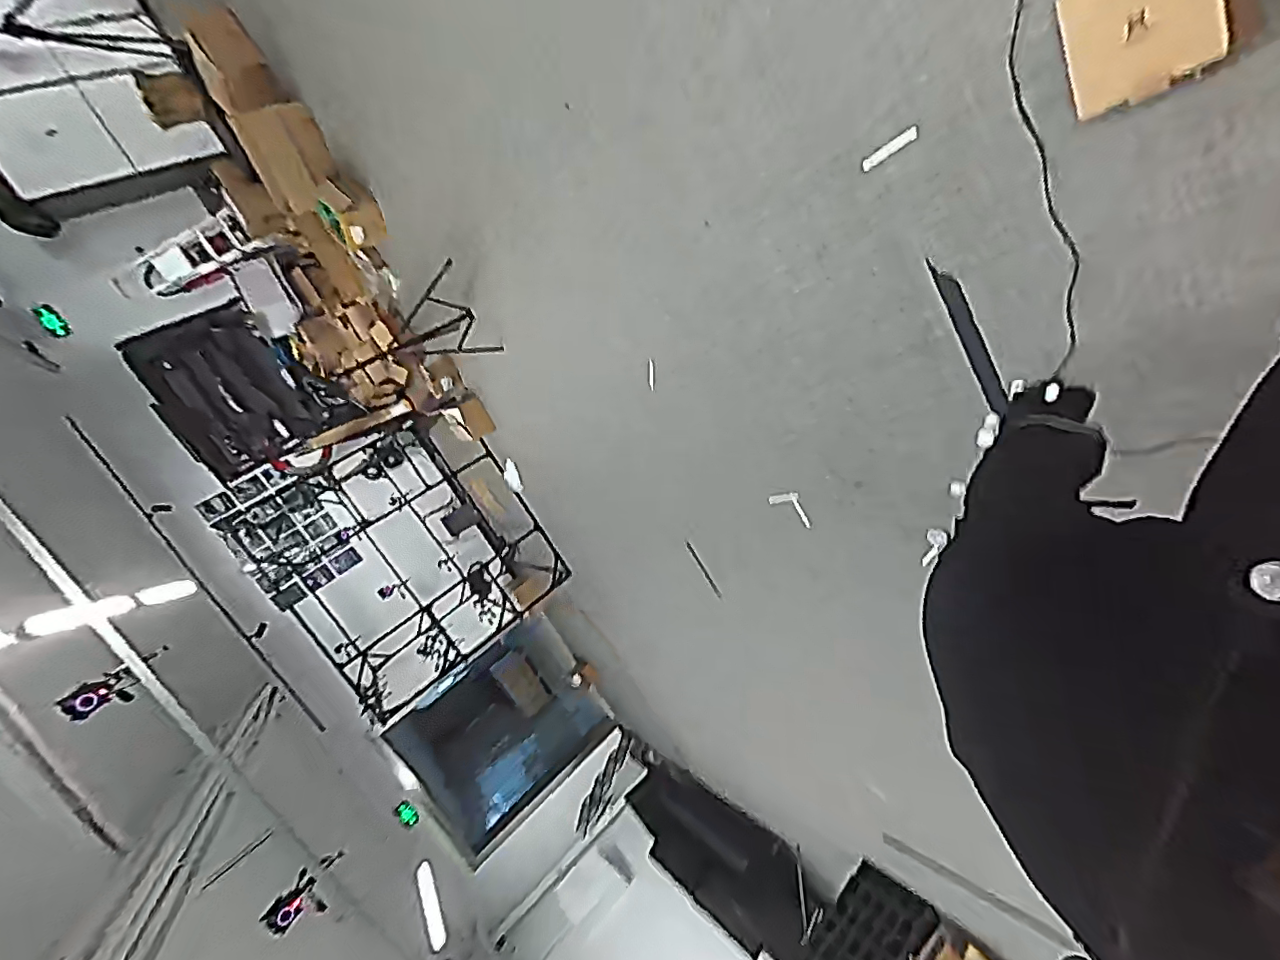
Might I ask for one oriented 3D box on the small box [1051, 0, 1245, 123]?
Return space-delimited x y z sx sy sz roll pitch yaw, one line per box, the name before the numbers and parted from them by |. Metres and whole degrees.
small box | 0.753 -0.679 0.800 0.168 0.176 0.179 1 123 57
